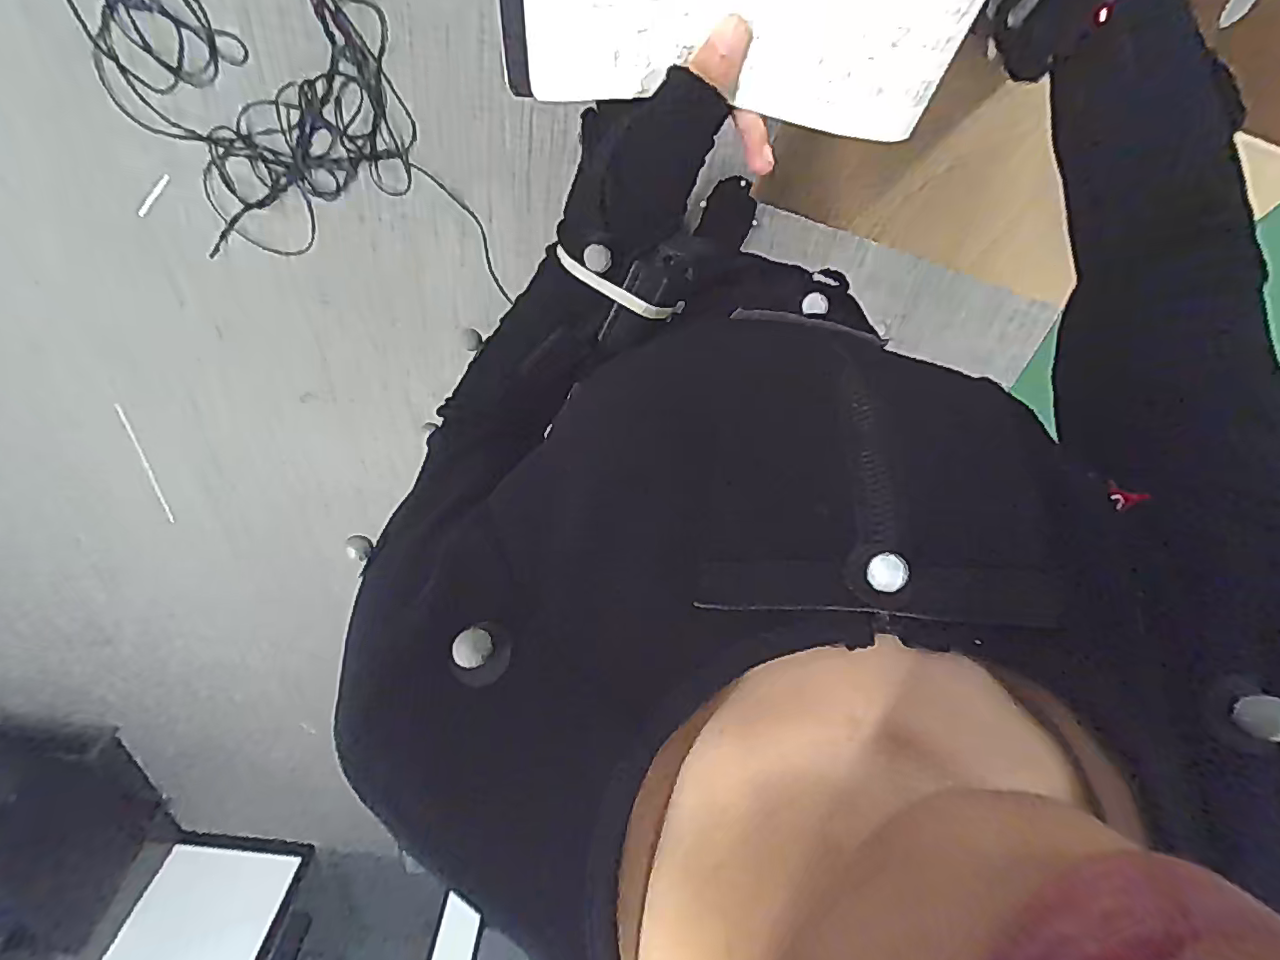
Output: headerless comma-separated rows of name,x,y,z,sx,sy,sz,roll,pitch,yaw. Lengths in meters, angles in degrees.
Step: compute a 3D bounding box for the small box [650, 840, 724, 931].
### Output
small box,0.127,1.138,1.506,0.168,0.176,0.179,9,125,-5
